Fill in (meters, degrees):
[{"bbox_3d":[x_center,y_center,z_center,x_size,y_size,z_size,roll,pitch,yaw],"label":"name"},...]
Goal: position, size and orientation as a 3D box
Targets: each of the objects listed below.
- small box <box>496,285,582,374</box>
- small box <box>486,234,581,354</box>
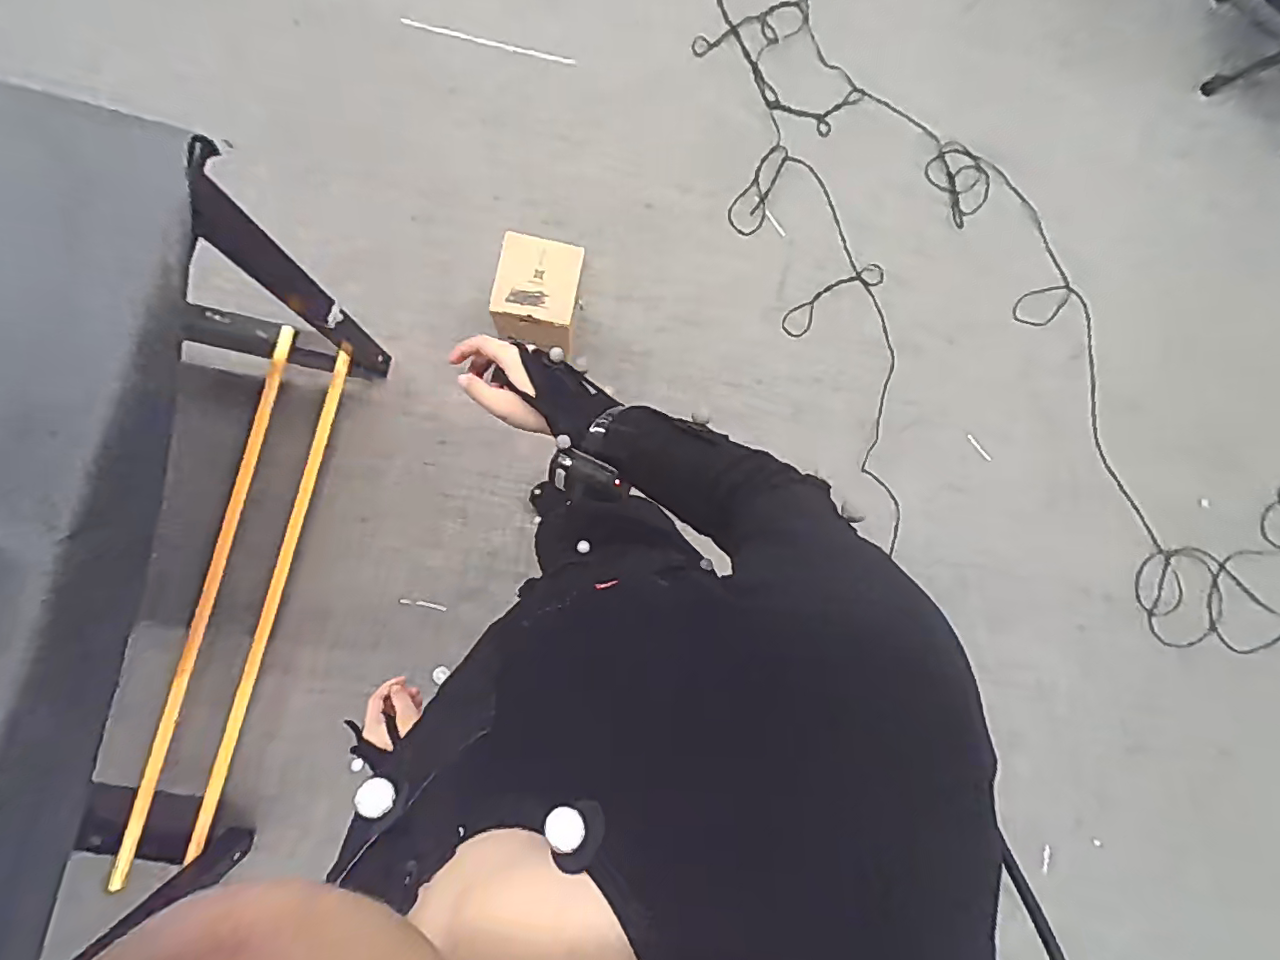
[{"bbox_3d":[-0.244,-0.385,1.333,0.168,0.176,0.179,13,81,-5],"label":"small box"},{"bbox_3d":[-0.222,-0.392,1.171,0.168,0.176,0.179,10,81,-6],"label":"small box"}]
